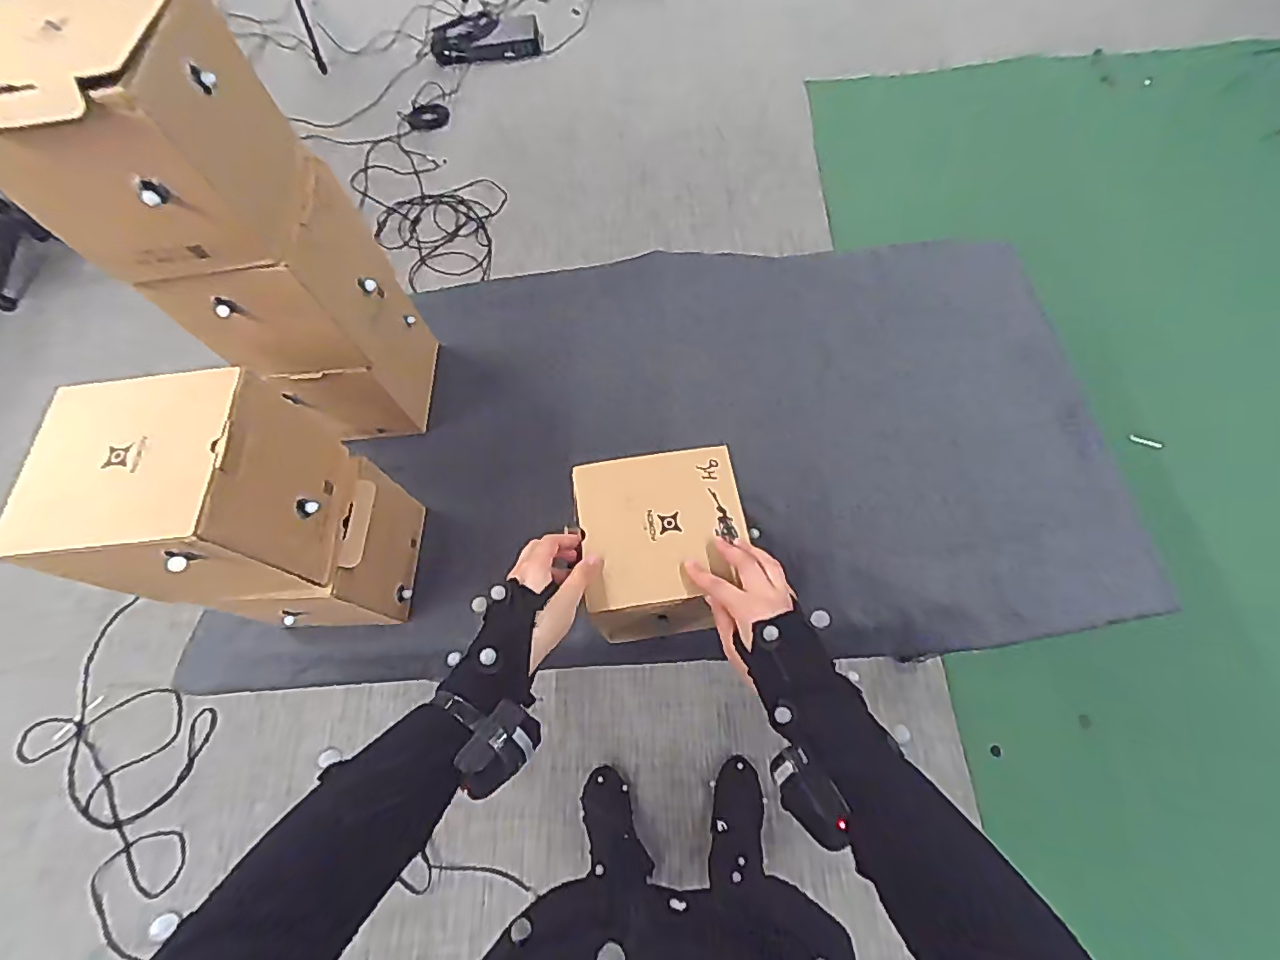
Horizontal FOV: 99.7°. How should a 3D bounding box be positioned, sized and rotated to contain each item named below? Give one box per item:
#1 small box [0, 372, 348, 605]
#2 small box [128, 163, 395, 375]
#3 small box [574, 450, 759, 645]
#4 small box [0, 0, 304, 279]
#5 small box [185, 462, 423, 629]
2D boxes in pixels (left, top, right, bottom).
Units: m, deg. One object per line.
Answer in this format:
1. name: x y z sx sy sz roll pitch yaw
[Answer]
1. small box: -0.424 0.019 0.529 0.179 0.176 0.168 -7 65 2
2. small box: -0.427 -0.240 0.645 0.179 0.176 0.168 -3 66 3
3. small box: 0.032 0.088 0.633 0.179 0.176 0.168 -10 64 3
4. small box: -0.447 -0.306 0.499 0.168 0.176 0.179 -7 64 1
5. small box: -0.395 0.088 0.673 0.179 0.176 0.168 -3 65 5
